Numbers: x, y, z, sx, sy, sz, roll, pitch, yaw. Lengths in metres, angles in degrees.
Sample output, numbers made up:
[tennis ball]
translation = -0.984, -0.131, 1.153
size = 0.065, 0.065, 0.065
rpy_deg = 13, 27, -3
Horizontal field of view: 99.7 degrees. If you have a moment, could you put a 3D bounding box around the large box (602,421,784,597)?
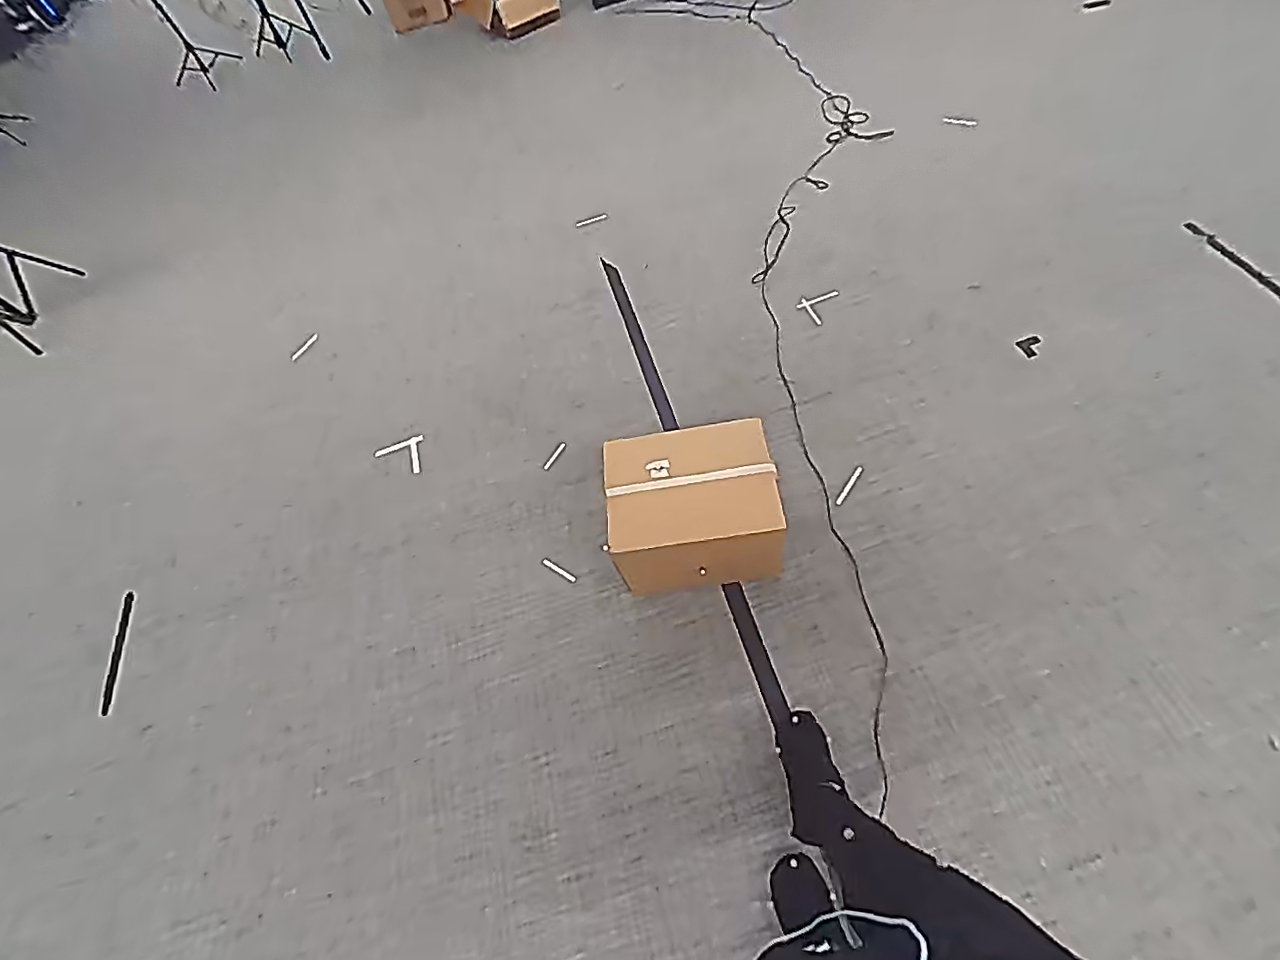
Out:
[large box]
translation = 0.139, 0.090, 1.411
size = 0.408, 0.320, 0.320
rpy_deg = -10, 58, 7
